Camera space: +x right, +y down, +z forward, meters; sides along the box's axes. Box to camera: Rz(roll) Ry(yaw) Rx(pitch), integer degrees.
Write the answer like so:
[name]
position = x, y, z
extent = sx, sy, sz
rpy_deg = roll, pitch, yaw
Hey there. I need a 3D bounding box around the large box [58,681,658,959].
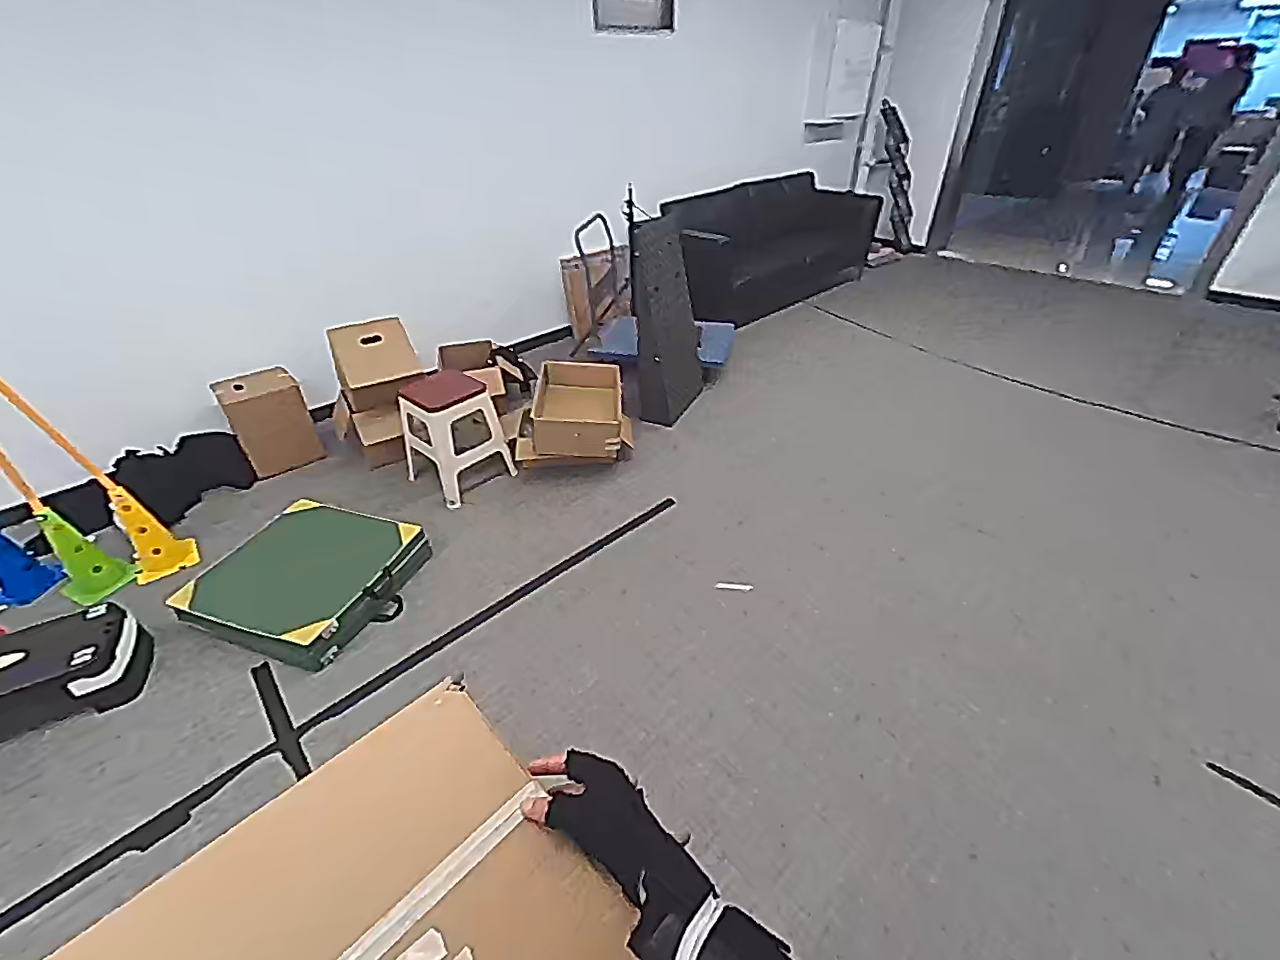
[large box]
position = -0.236, 0.483, 0.476
extent = 0.320, 0.320, 0.408
rpy_deg = 34, 47, 31
